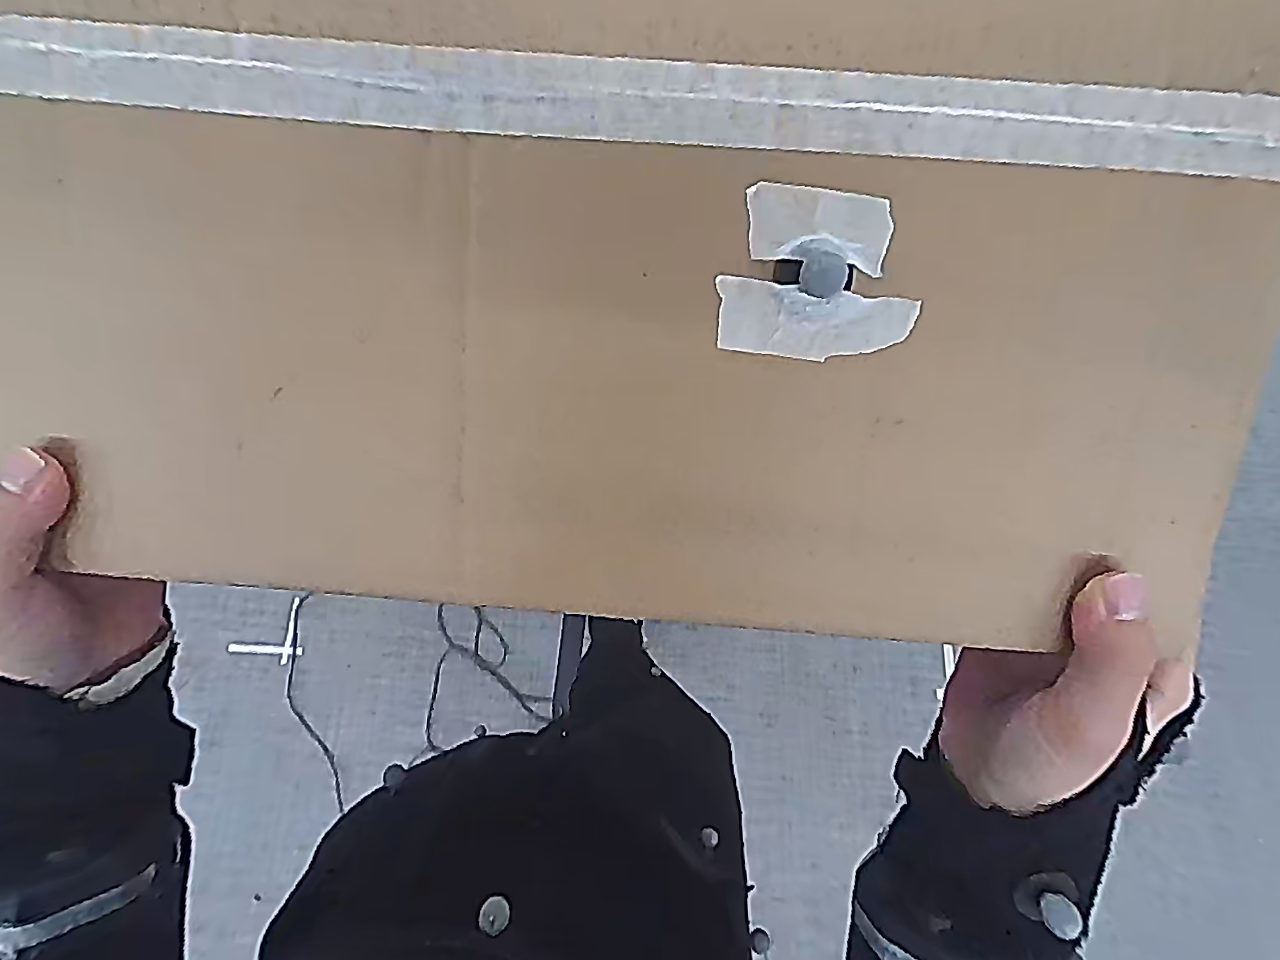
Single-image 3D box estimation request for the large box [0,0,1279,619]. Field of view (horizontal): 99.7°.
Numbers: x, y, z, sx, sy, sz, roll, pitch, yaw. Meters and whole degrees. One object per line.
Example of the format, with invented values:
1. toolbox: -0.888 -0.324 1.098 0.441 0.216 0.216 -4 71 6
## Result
1. large box: -0.005 -0.133 0.319 0.408 0.320 0.320 4 99 0
